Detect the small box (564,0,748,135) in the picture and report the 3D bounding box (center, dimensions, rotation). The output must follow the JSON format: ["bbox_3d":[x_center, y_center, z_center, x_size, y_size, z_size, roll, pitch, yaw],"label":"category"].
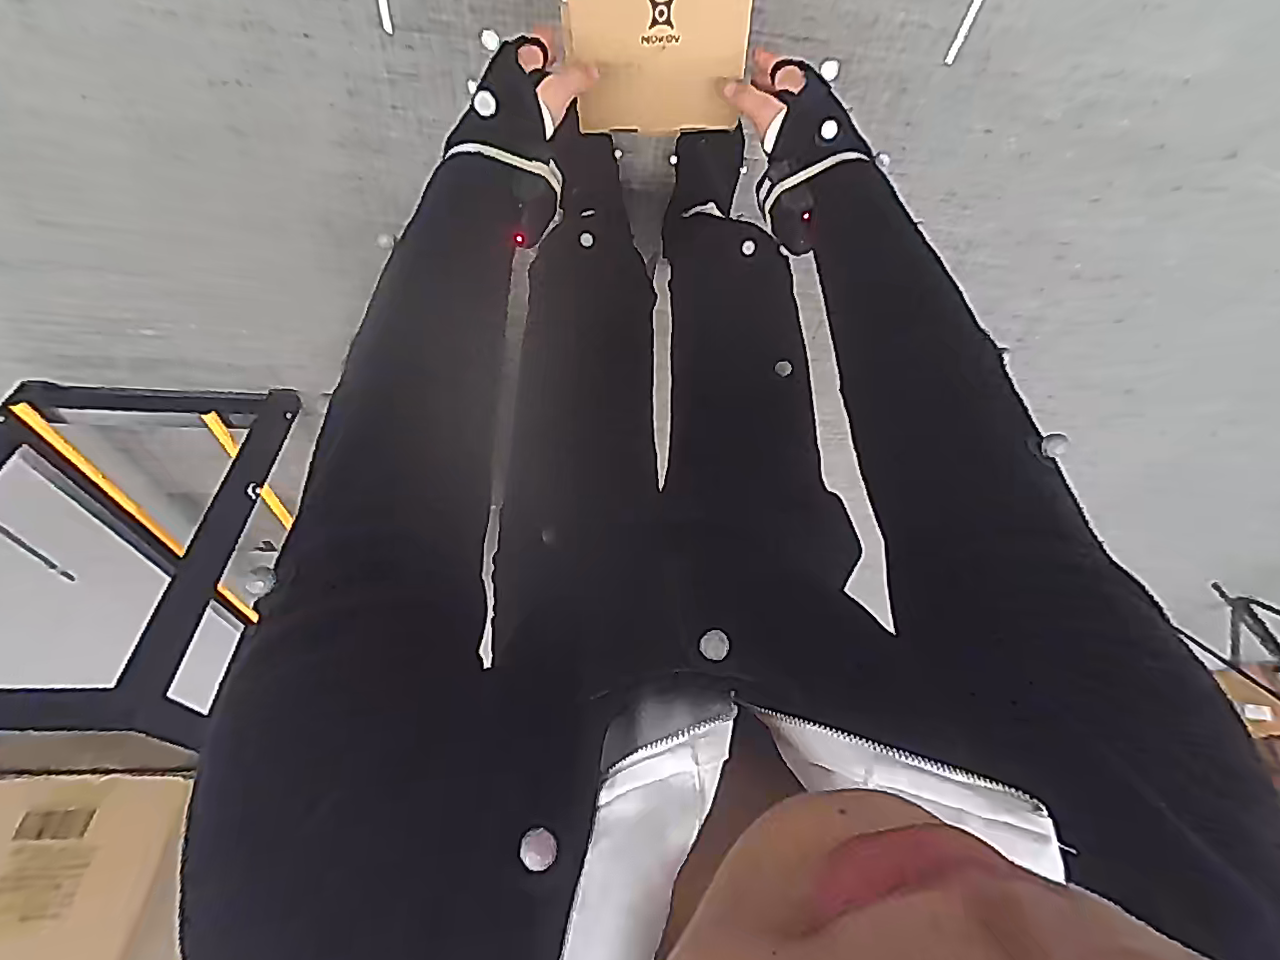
[{"bbox_3d":[0.013,-0.475,0.538,0.168,0.176,0.179,-2,143,0],"label":"small box"}]
